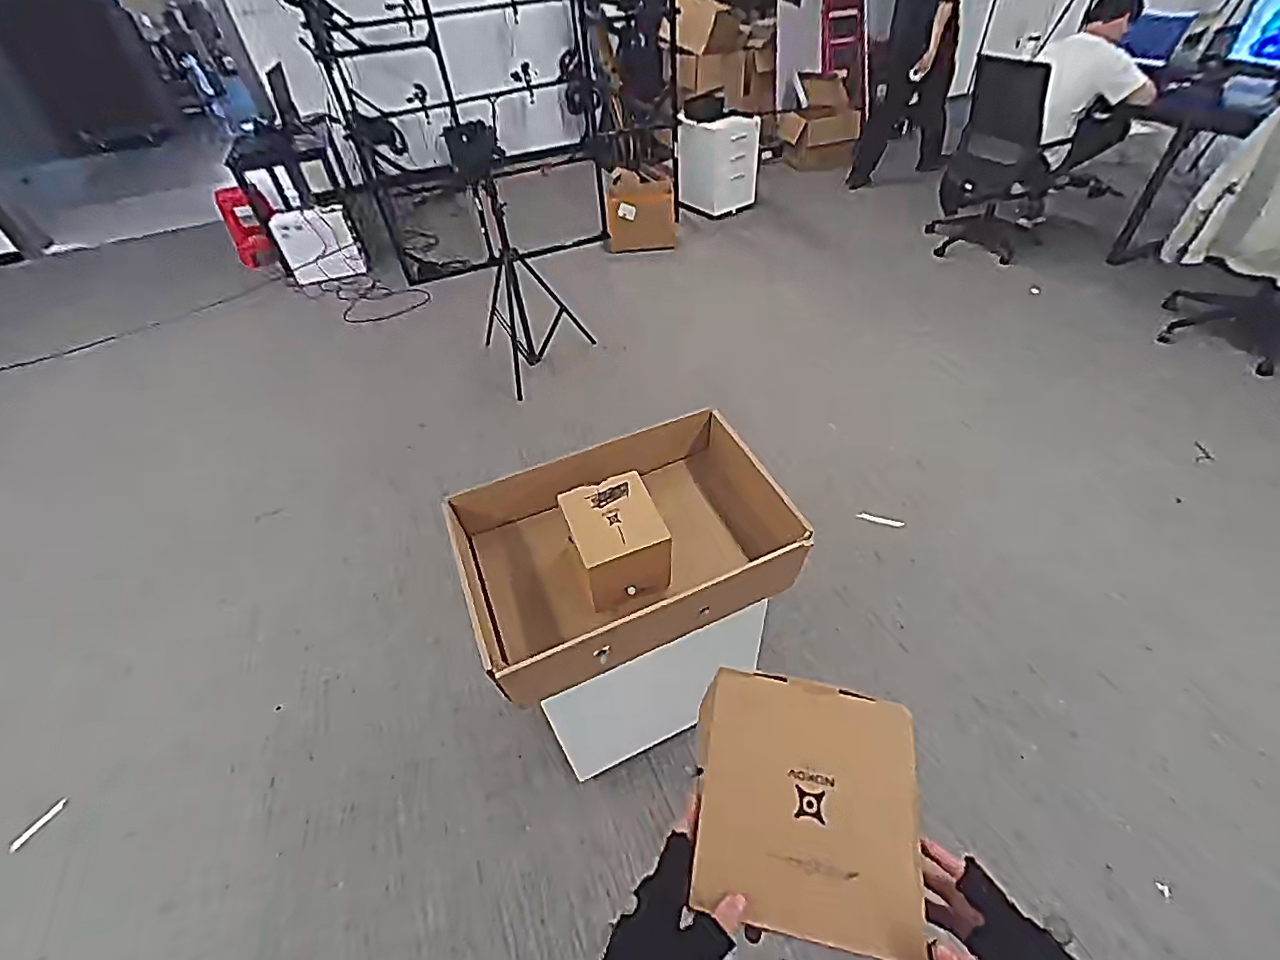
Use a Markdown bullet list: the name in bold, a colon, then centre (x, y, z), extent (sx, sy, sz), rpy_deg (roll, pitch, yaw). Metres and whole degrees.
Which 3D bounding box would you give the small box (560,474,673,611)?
- **small box**: centre (-0.046, 0.122, 1.055), extent (0.168, 0.176, 0.179), rpy_deg (-19, 52, -13)

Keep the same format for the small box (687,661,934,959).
- **small box**: centre (0.137, 0.288, 0.488), extent (0.168, 0.176, 0.179), rpy_deg (9, 57, 7)
